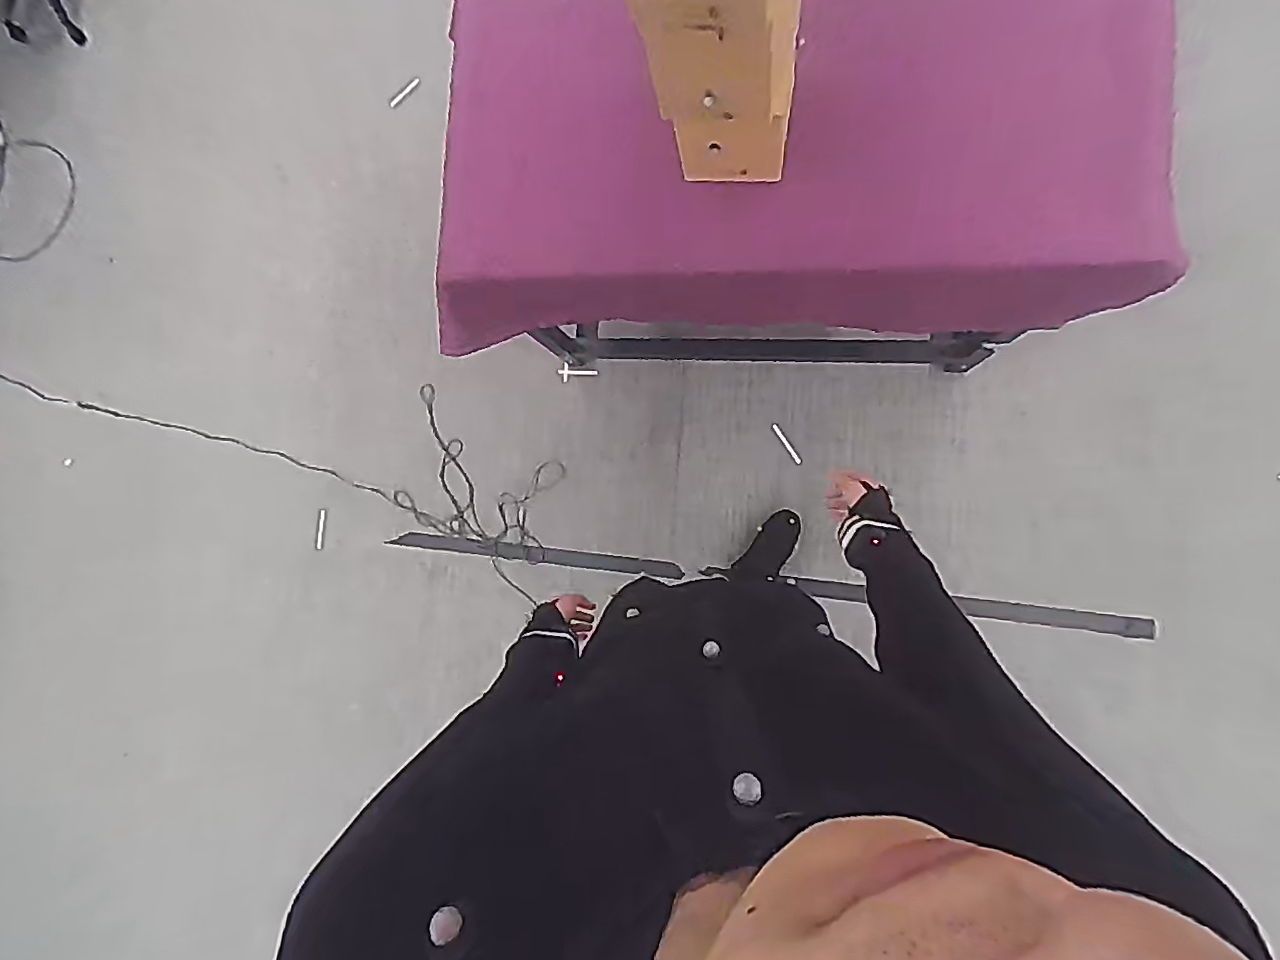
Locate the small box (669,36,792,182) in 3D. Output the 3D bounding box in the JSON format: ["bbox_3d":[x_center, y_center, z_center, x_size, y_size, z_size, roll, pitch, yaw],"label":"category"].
[{"bbox_3d":[0.151,-0.607,0.869,0.168,0.176,0.179,7,87,13],"label":"small box"}]

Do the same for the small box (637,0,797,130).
[{"bbox_3d":[0.109,-0.607,0.709,0.168,0.176,0.179,14,89,13],"label":"small box"}]
